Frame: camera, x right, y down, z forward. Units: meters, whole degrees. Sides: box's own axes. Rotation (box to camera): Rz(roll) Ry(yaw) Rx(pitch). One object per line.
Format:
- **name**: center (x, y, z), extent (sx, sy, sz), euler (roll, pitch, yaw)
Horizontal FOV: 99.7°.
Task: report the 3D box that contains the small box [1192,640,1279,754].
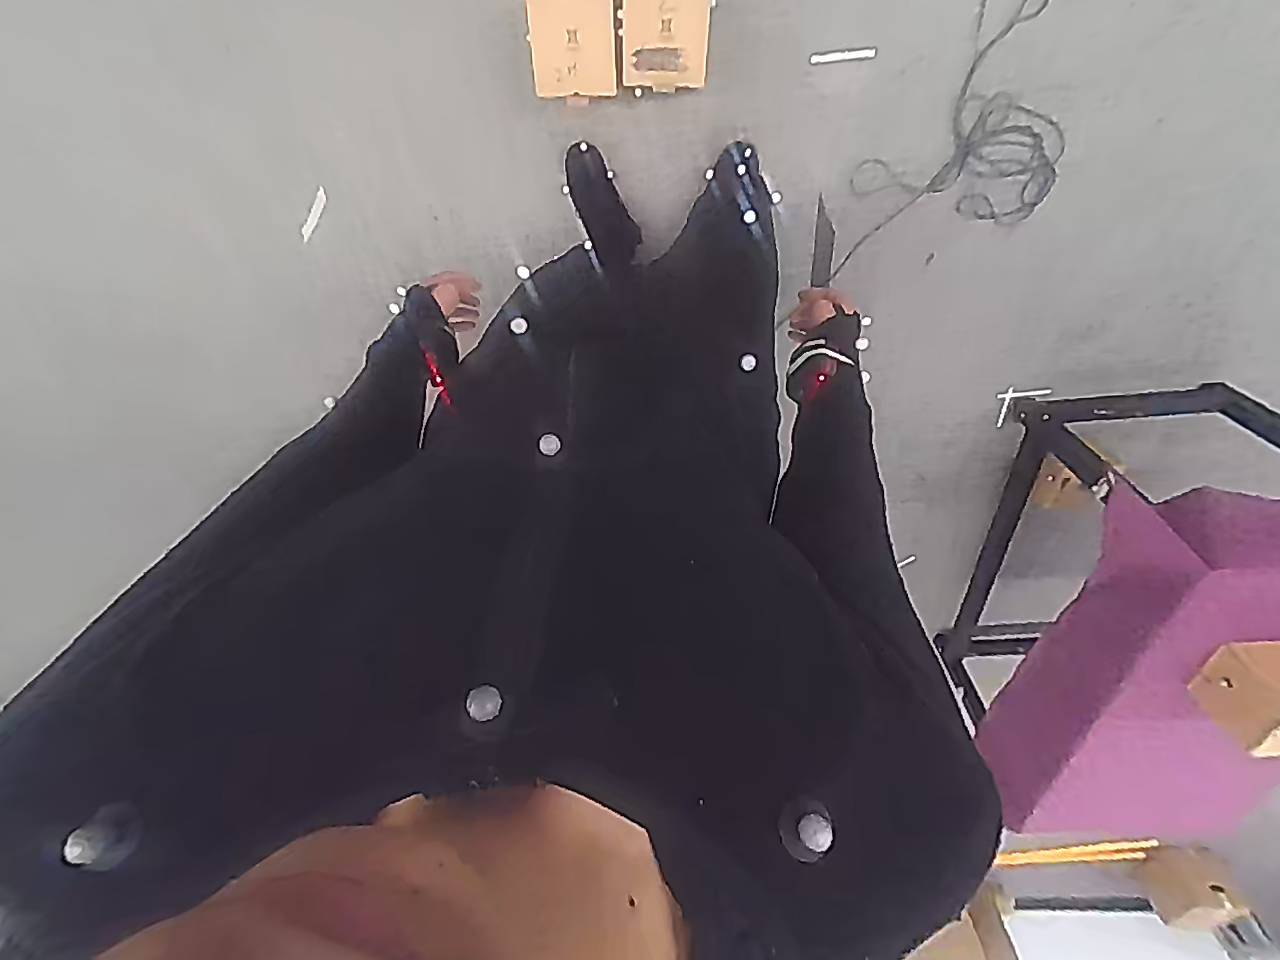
- **small box**: center (1.351, 0.452, 1.136), extent (0.179, 0.176, 0.168), euler (-4, 126, 6)
